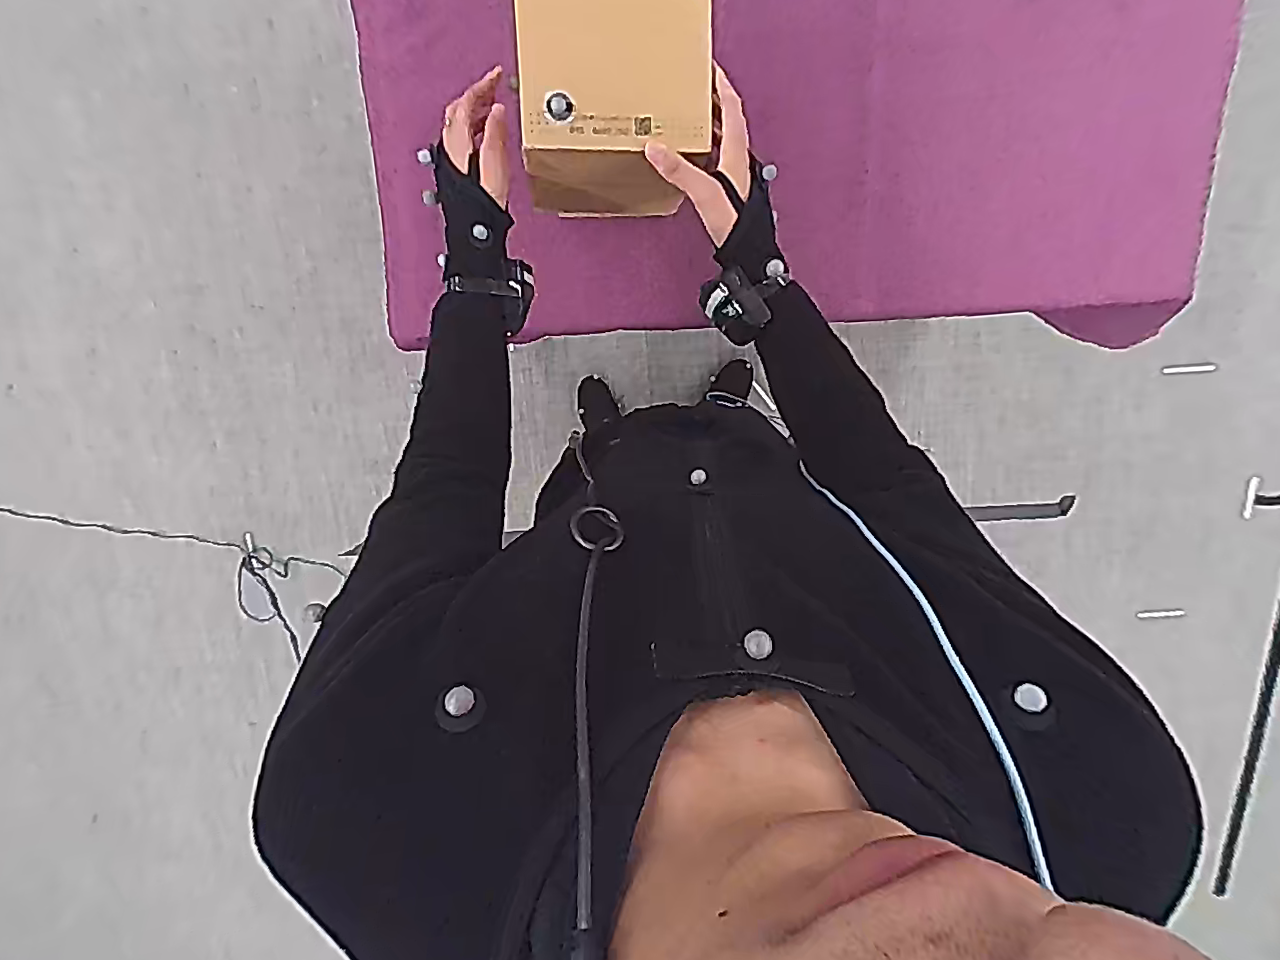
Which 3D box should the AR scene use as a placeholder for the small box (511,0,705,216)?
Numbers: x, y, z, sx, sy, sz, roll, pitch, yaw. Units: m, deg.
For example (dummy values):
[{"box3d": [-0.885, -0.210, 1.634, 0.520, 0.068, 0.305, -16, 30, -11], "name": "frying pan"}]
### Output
[{"box3d": [-0.034, -0.374, 0.531, 0.168, 0.179, 0.176, -2, 99, -8], "name": "small box"}]
